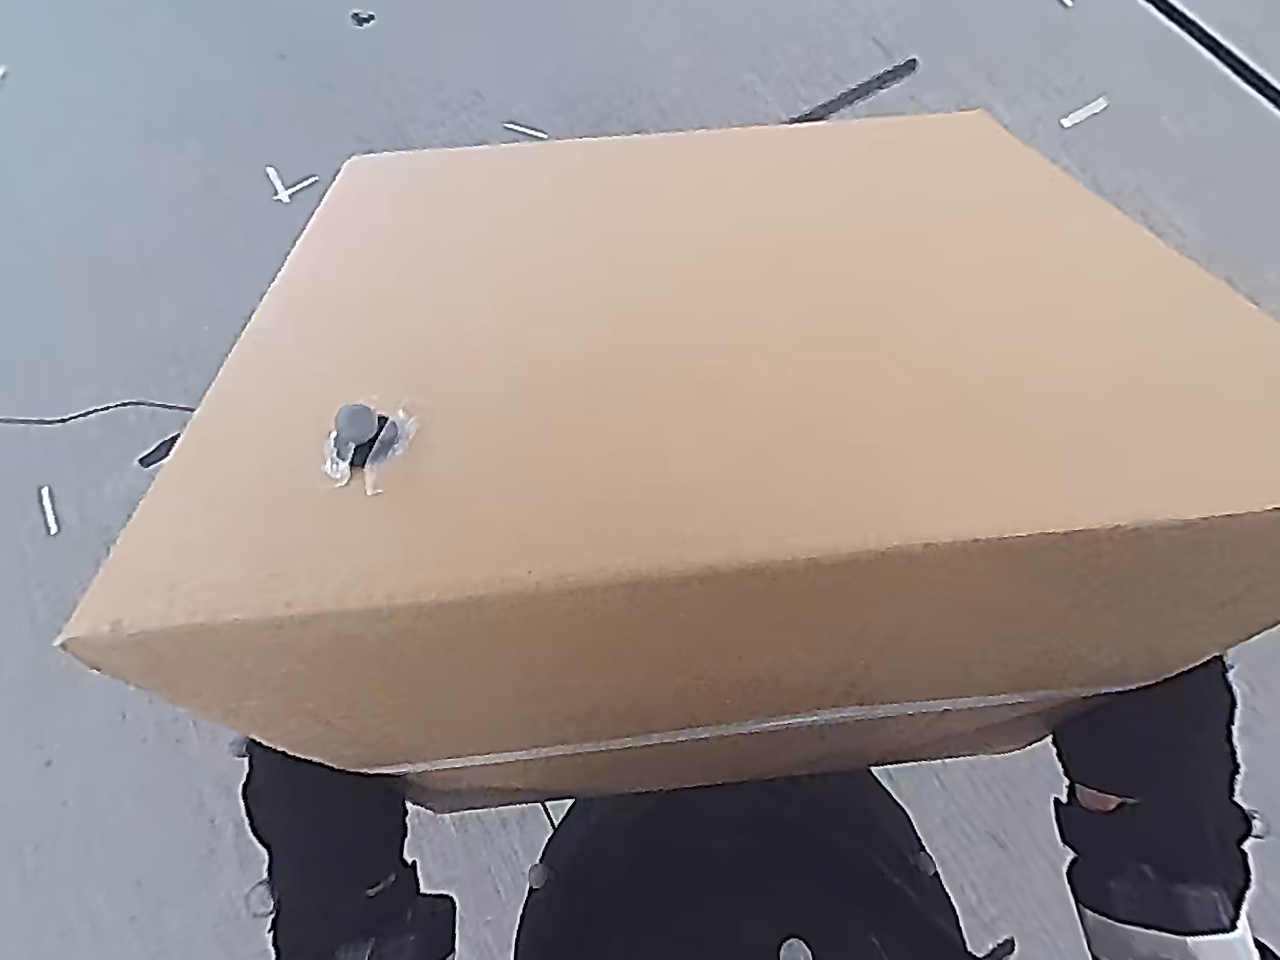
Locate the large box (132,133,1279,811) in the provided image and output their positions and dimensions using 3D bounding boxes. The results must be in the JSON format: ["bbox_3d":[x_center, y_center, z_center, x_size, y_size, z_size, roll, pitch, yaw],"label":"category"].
[{"bbox_3d":[0.035,0.002,0.370,0.408,0.320,0.320,-7,51,-1],"label":"large box"}]
